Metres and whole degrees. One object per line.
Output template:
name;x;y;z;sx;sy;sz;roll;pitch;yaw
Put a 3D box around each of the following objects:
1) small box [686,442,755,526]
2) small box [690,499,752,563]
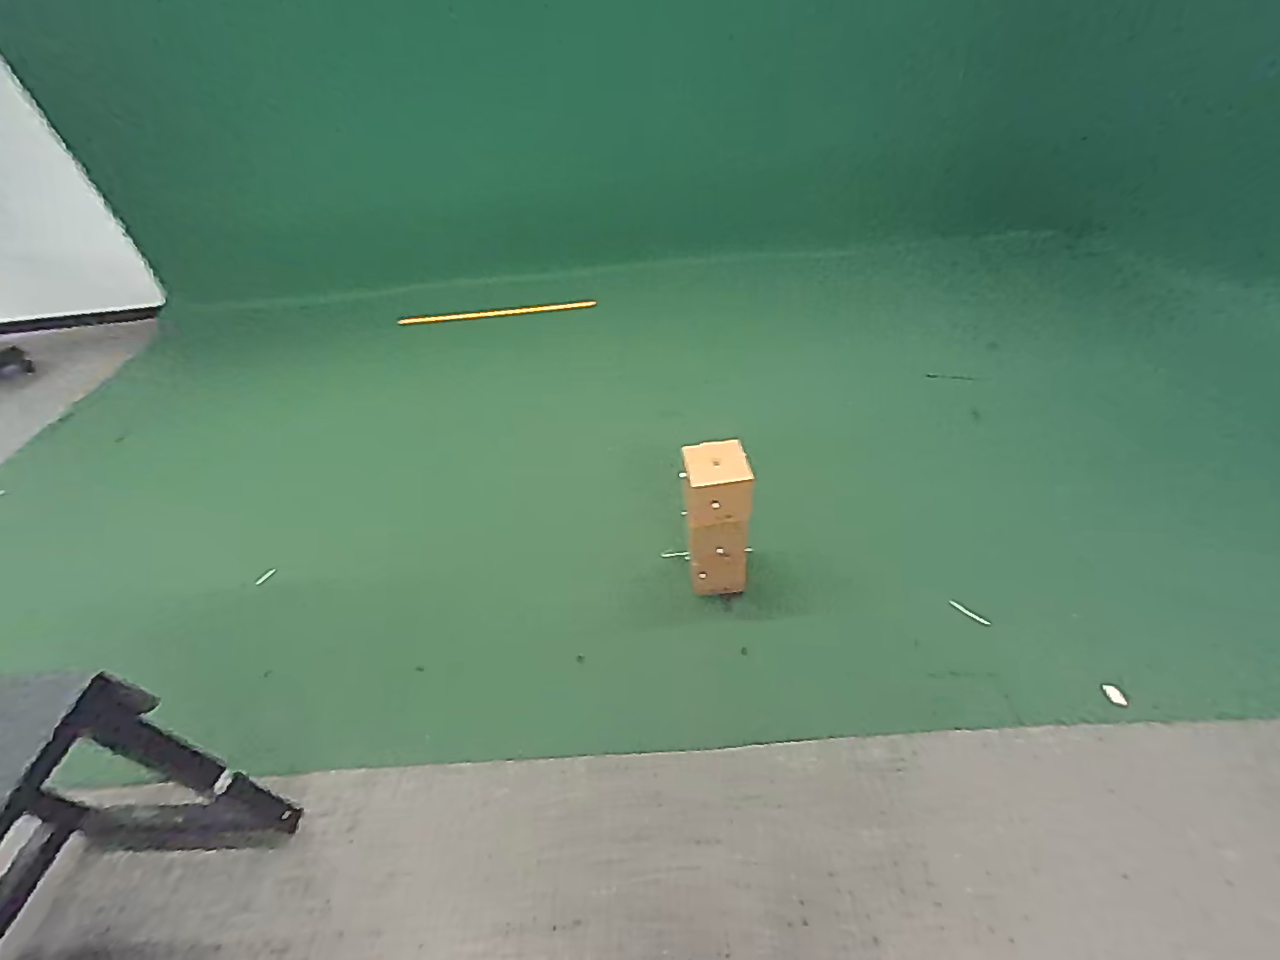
small box;0.230;0.018;1.559;0.168;0.176;0.179;-8;42;-1
small box;0.243;0.134;1.672;0.168;0.176;0.179;-7;43;1
